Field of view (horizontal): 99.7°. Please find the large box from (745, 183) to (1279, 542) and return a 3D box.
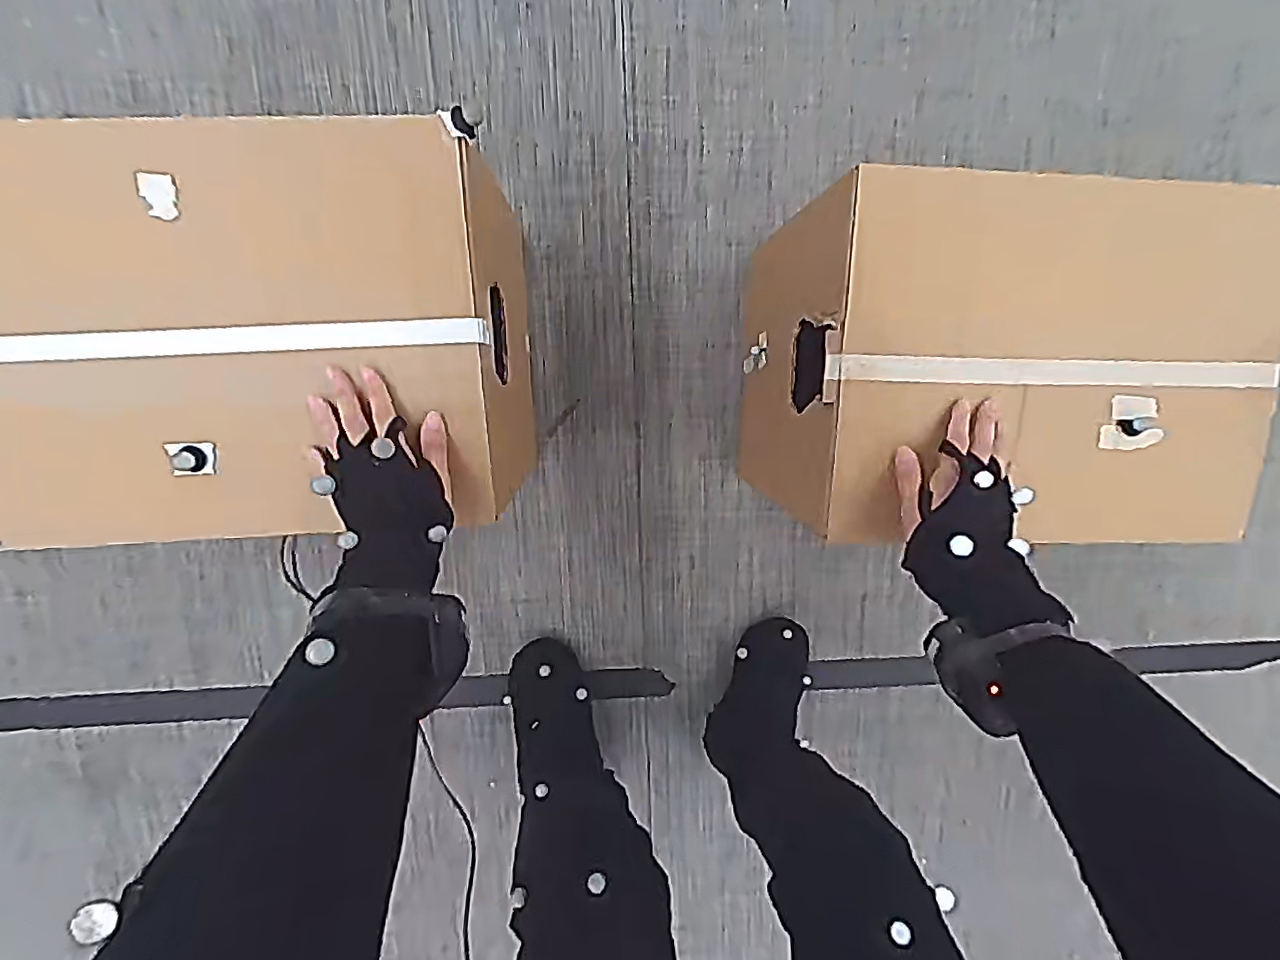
[{"bbox_3d":[0.358,-0.120,0.633,0.408,0.320,0.320,1,101,-5],"label":"large box"}]
